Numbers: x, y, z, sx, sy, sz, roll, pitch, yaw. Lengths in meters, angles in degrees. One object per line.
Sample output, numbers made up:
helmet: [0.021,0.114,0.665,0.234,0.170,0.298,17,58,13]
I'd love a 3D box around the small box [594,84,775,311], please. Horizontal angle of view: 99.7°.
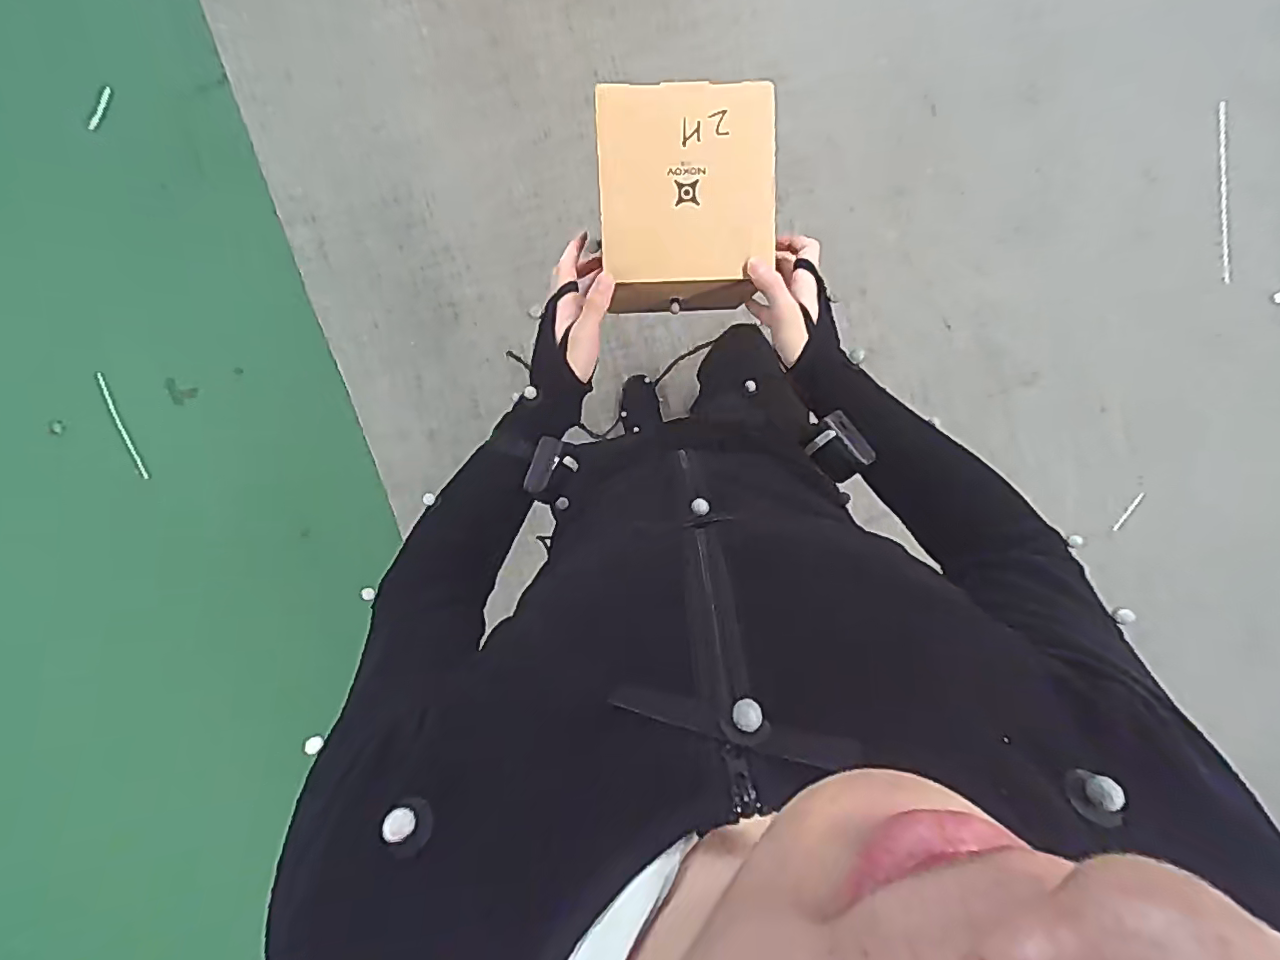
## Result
small box: [0.039,-0.280,0.576,0.168,0.176,0.179,-2,97,-3]
